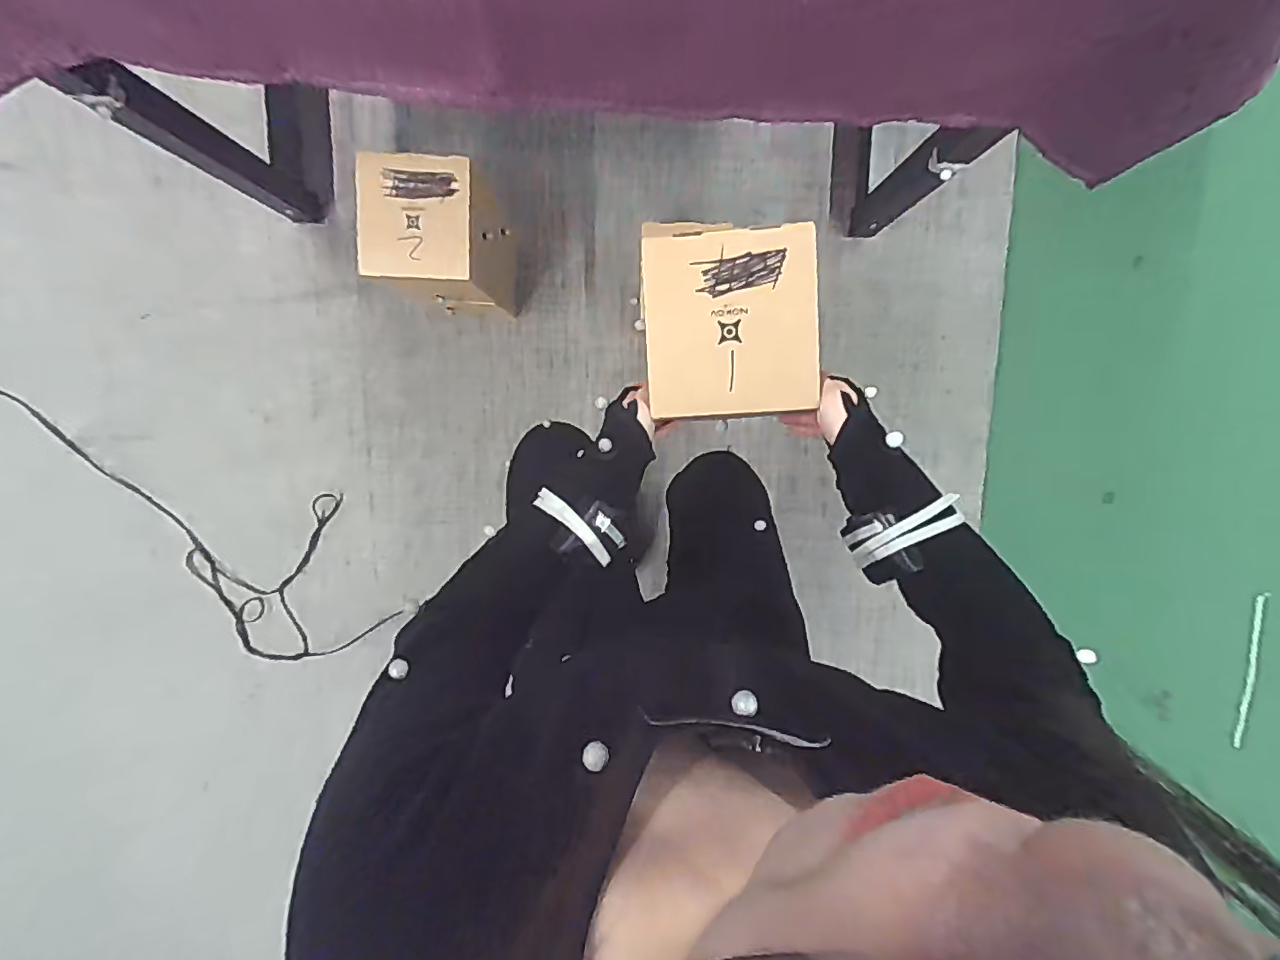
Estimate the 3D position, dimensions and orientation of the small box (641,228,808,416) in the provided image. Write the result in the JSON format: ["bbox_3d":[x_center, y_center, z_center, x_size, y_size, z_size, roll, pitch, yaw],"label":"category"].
[{"bbox_3d":[0.090,-0.164,0.615,0.168,0.176,0.179,-2,97,6],"label":"small box"}]
